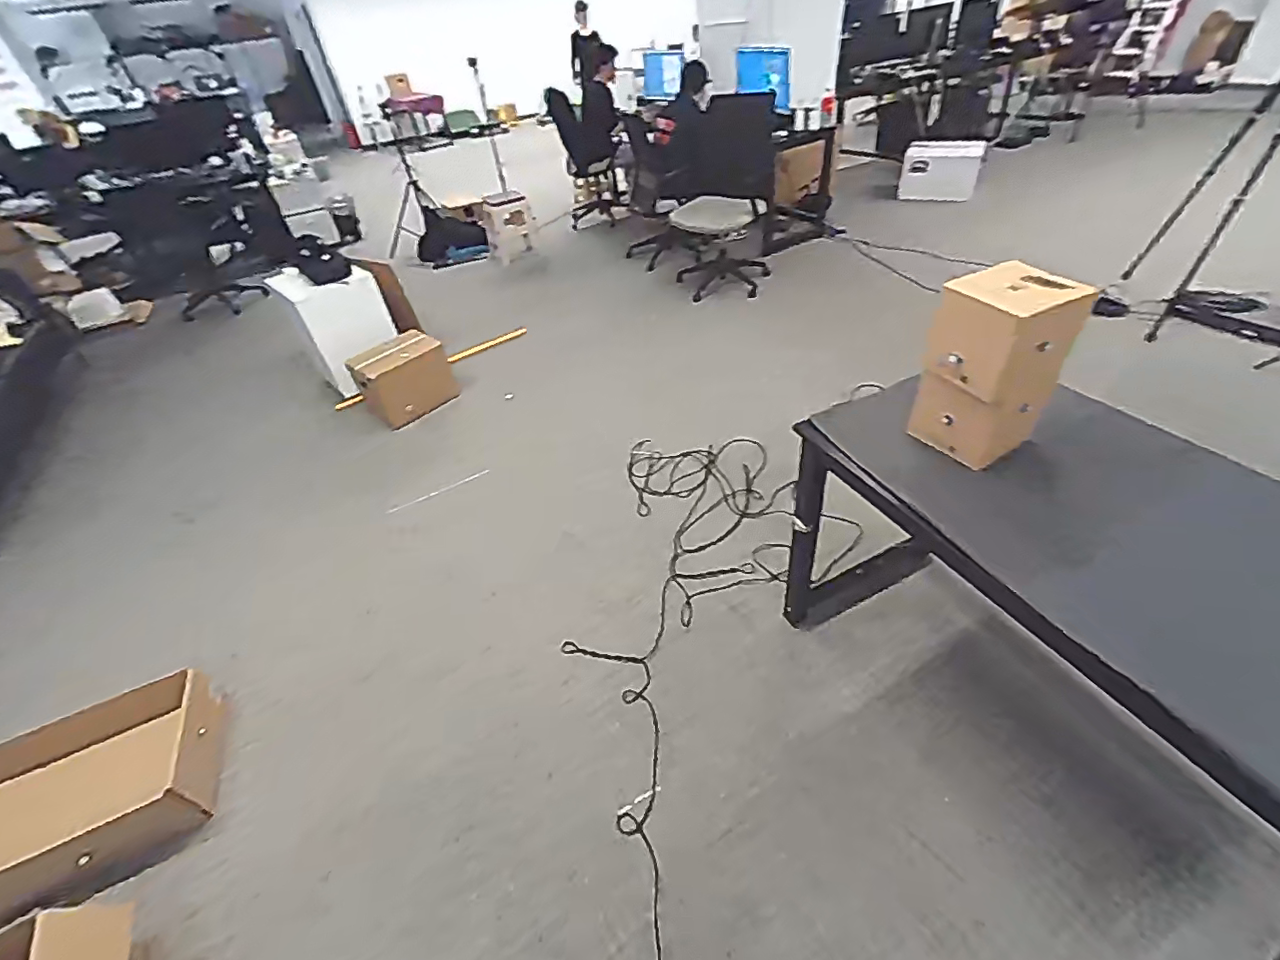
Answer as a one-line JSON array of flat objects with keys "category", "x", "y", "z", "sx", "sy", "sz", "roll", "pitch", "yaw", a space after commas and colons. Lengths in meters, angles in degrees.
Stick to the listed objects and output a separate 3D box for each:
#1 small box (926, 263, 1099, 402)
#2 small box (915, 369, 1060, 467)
[{"category": "small box", "x": 0.660, "y": -0.269, "z": 0.985, "sx": 0.179, "sy": 0.176, "sz": 0.168, "roll": -21, "pitch": 43, "yaw": -13}, {"category": "small box", "x": 0.690, "y": -0.153, "z": 1.098, "sx": 0.179, "sy": 0.176, "sz": 0.168, "roll": -25, "pitch": 45, "yaw": -20}]
